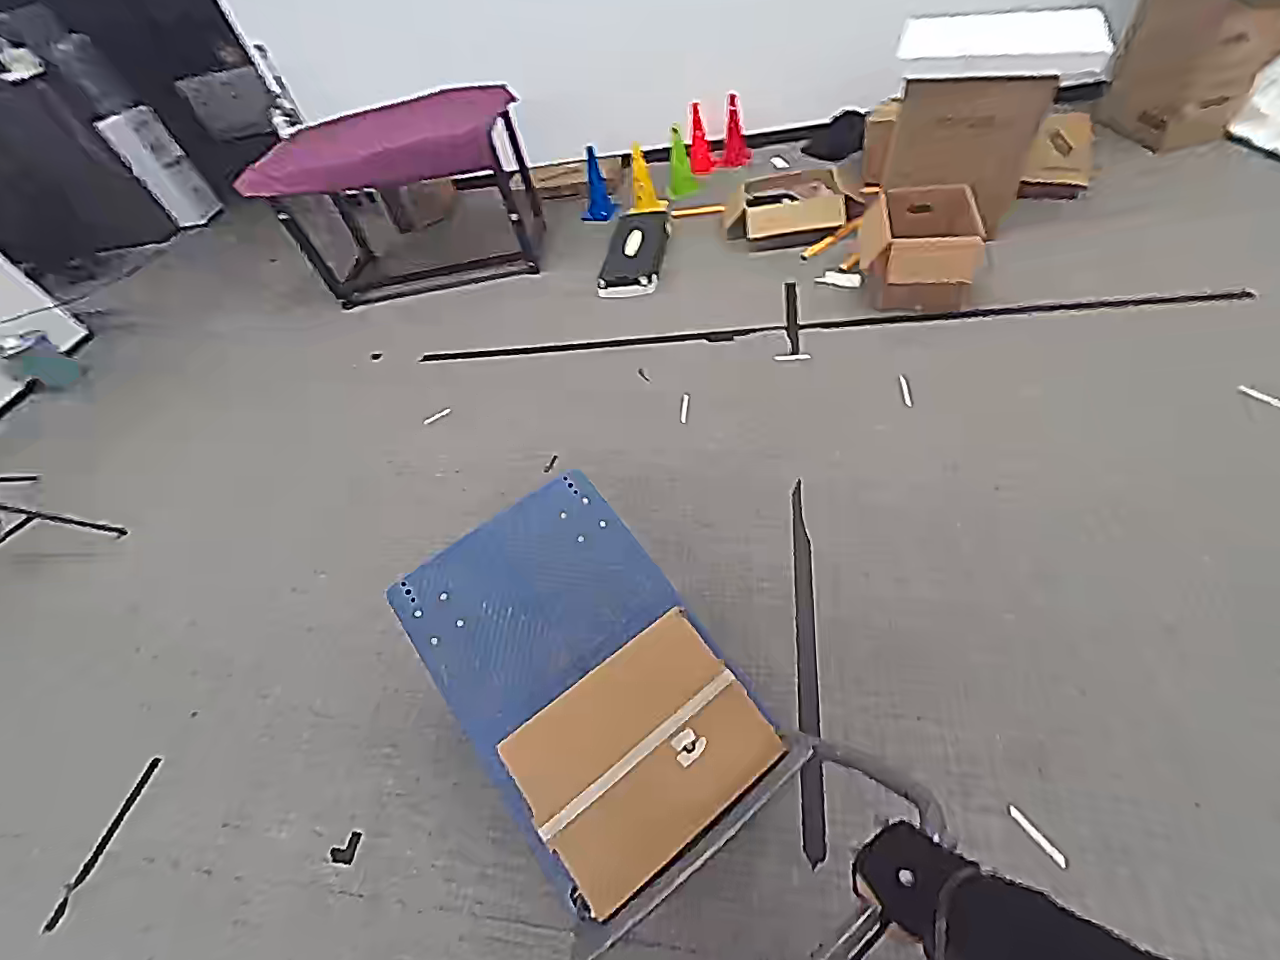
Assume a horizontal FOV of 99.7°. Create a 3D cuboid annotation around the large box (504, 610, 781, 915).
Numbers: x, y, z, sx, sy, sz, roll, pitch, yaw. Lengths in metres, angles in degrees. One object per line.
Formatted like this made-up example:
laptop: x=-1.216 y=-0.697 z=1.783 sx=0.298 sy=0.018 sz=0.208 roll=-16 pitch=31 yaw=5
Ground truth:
large box: x=0.001 y=0.533 z=1.087 sx=0.408 sy=0.320 sz=0.320 roll=-35 pitch=72 yaw=-16
